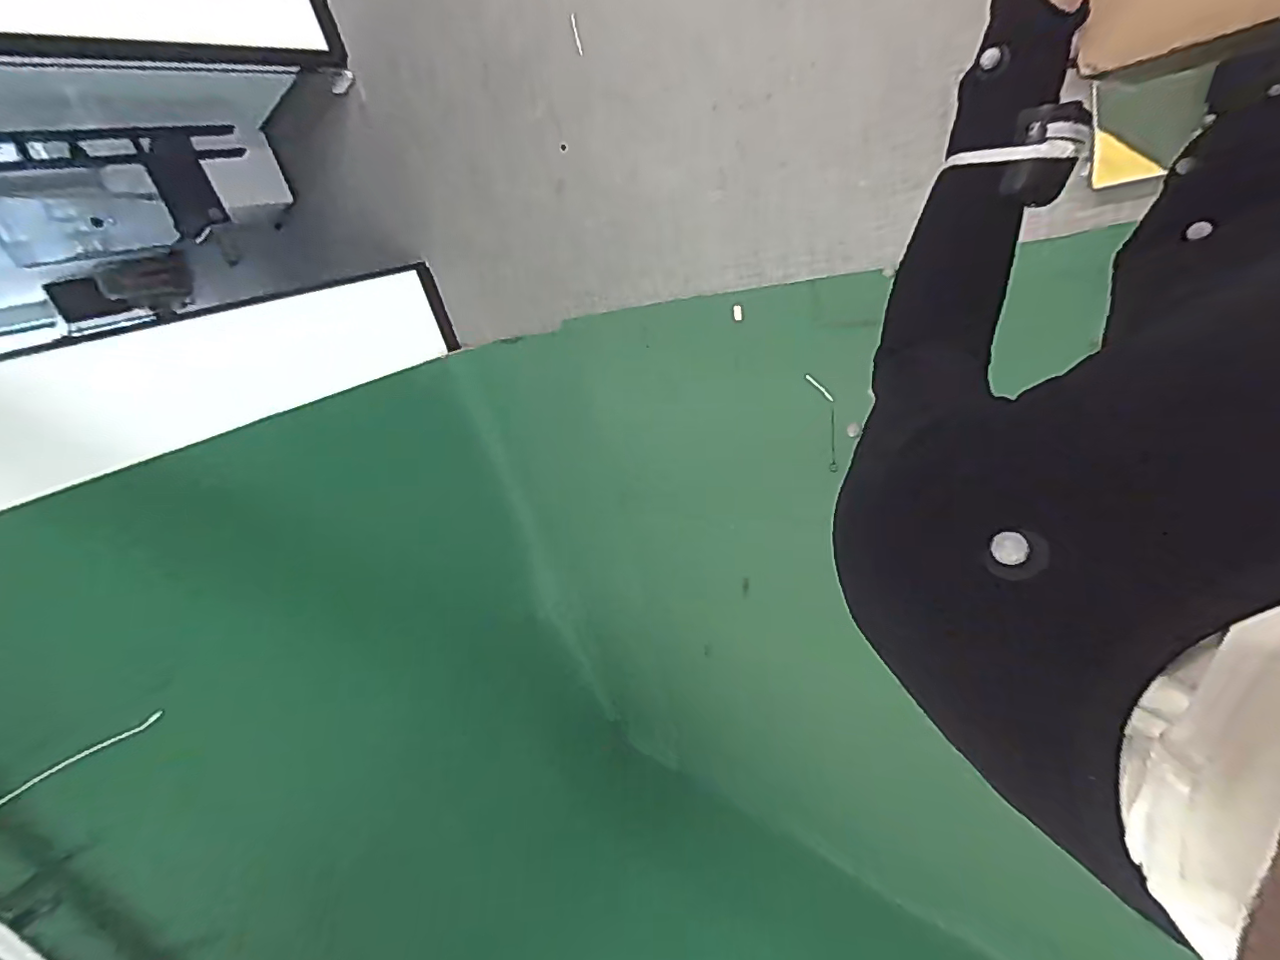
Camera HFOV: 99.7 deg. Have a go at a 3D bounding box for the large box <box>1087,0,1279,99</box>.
[{"bbox_3d":[0.535,-0.477,0.309,0.408,0.320,0.320,8,120,43],"label":"large box"}]
